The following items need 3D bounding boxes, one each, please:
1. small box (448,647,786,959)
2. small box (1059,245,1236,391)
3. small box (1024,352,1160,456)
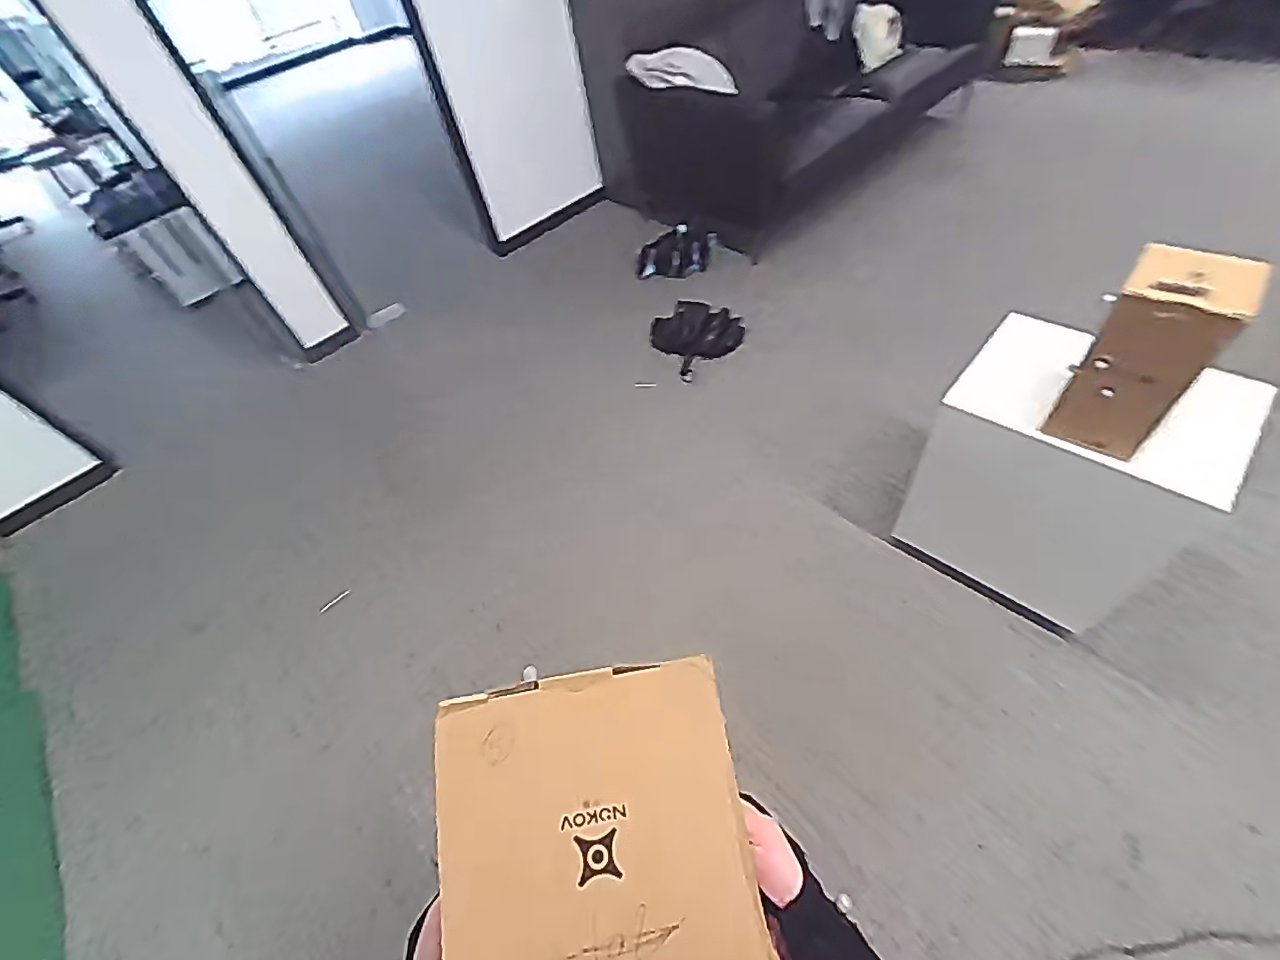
[{"bbox_3d":[-0.022,0.223,0.365,0.168,0.176,0.179,-9,69,-7],"label":"small box"},{"bbox_3d":[0.898,-0.289,0.971,0.168,0.176,0.179,29,59,29],"label":"small box"},{"bbox_3d":[0.919,-0.183,1.096,0.168,0.176,0.179,28,59,29],"label":"small box"}]
